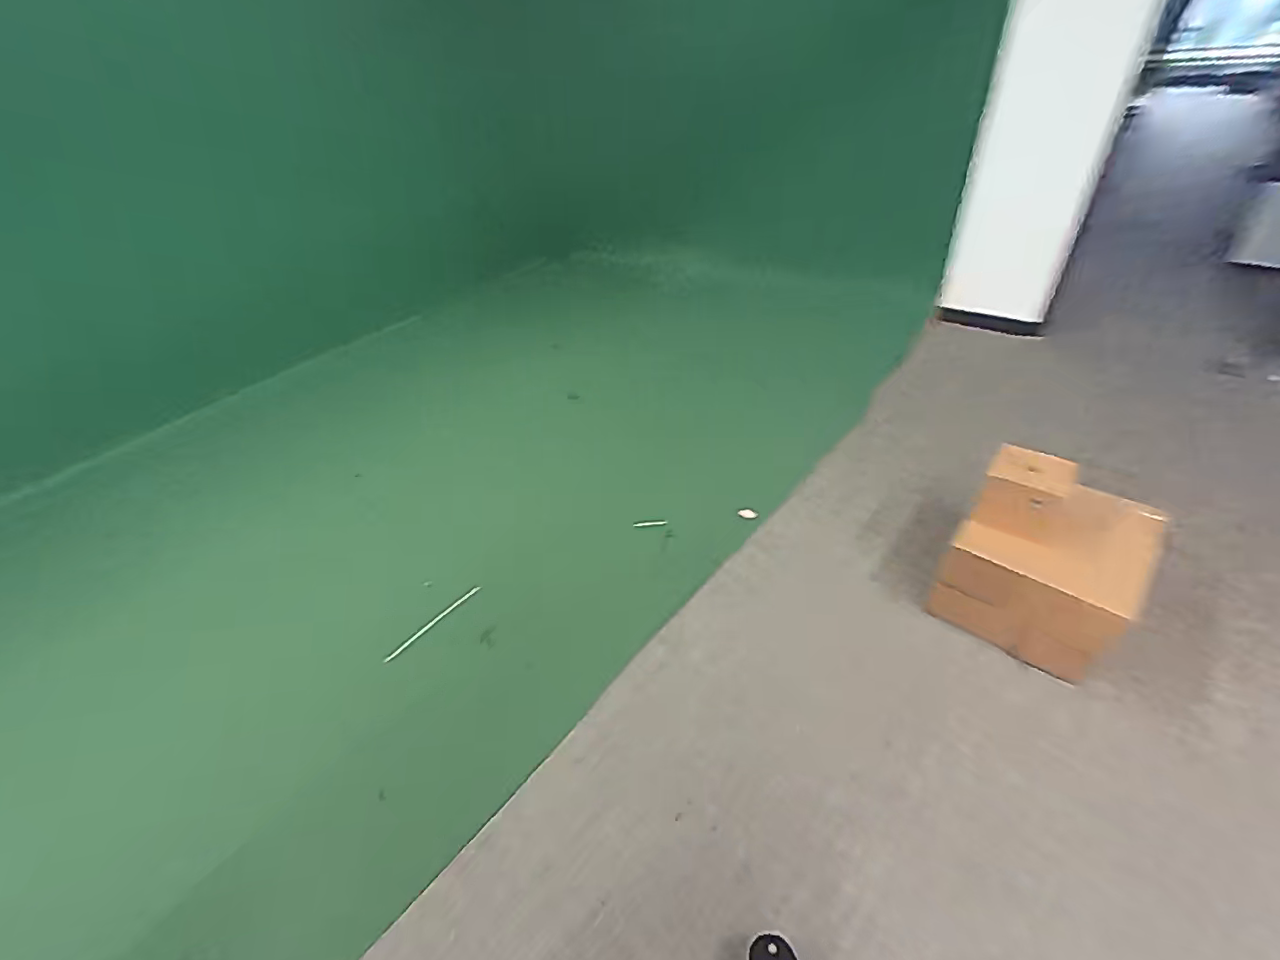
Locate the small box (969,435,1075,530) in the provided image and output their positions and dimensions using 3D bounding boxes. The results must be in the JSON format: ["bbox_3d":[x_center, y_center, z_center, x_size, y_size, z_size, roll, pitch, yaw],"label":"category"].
[{"bbox_3d":[1.035,0.010,1.473,0.179,0.176,0.168,25,50,34],"label":"small box"}]
